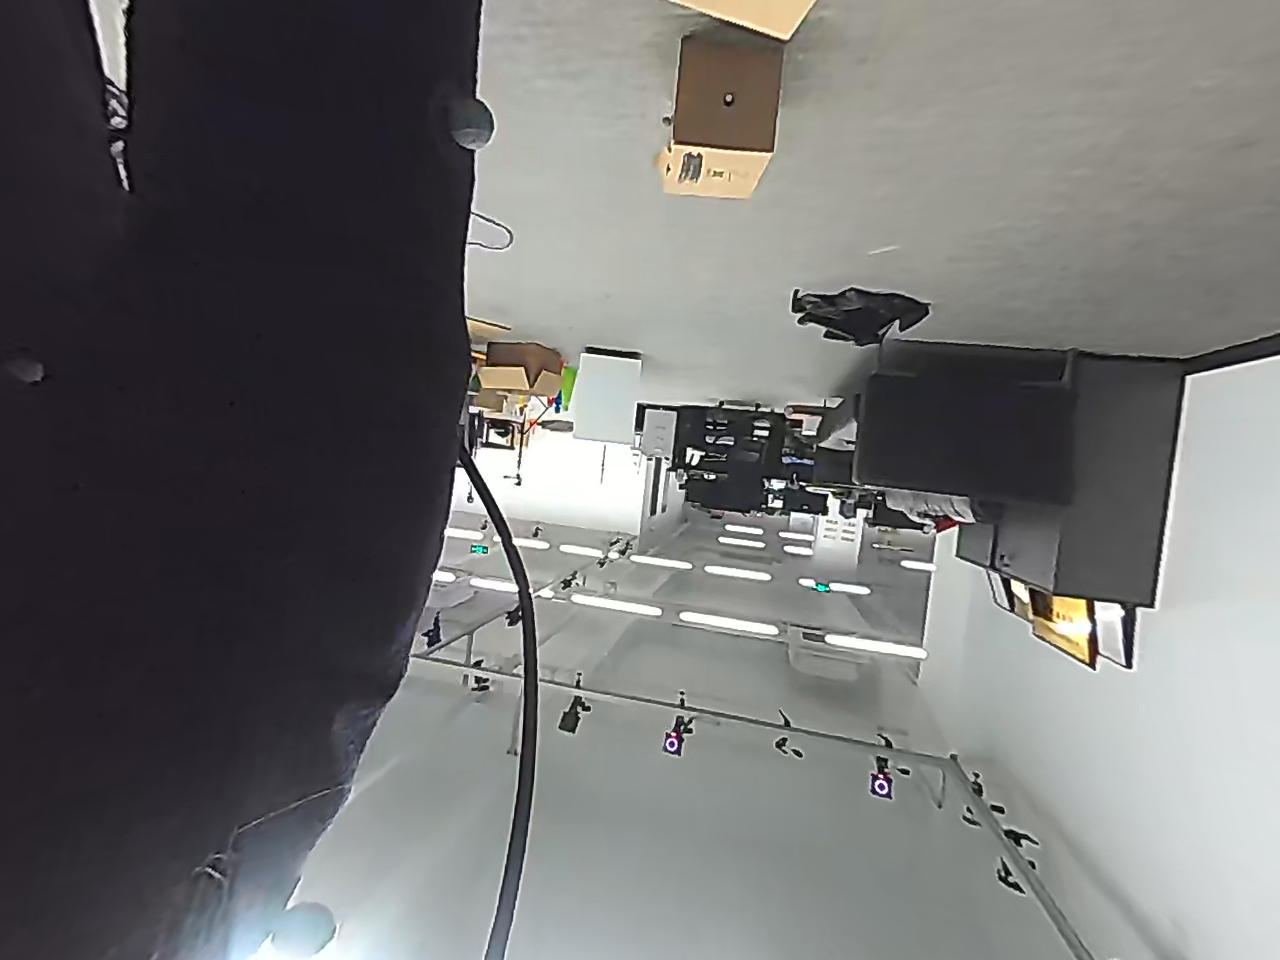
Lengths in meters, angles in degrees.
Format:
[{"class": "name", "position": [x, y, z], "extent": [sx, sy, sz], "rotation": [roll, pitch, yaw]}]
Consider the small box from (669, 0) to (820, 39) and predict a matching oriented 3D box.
[{"class": "small box", "position": [0.133, -0.623, 0.561], "extent": [0.179, 0.176, 0.168], "rotation": [6, -177, -15]}]
